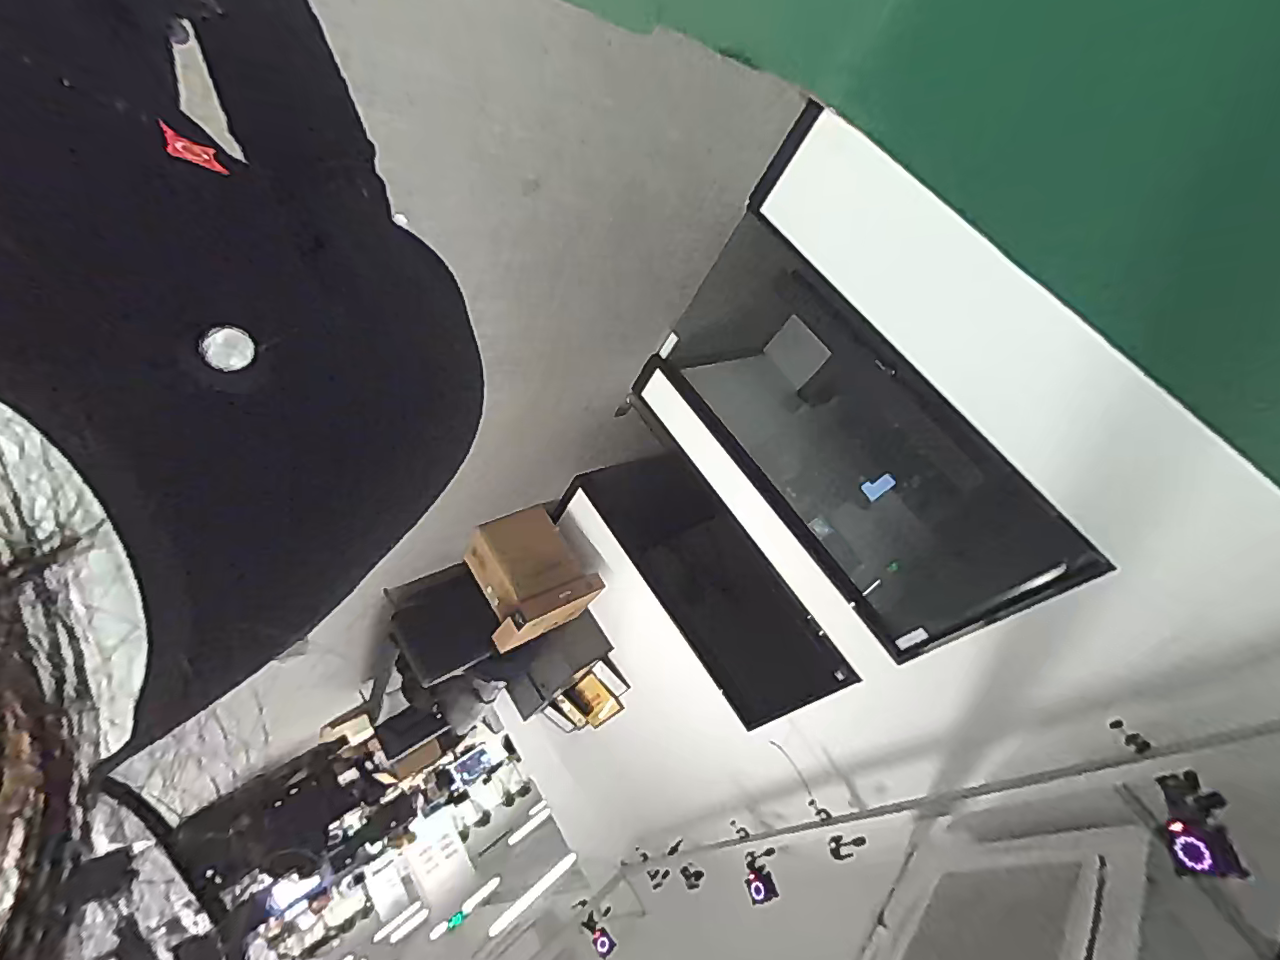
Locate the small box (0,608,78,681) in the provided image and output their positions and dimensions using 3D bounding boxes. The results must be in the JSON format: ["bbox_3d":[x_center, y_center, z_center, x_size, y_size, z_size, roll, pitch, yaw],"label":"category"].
[{"bbox_3d":[-2.203,0.595,1.969,0.168,0.176,0.179,-21,158,-41],"label":"small box"}]
